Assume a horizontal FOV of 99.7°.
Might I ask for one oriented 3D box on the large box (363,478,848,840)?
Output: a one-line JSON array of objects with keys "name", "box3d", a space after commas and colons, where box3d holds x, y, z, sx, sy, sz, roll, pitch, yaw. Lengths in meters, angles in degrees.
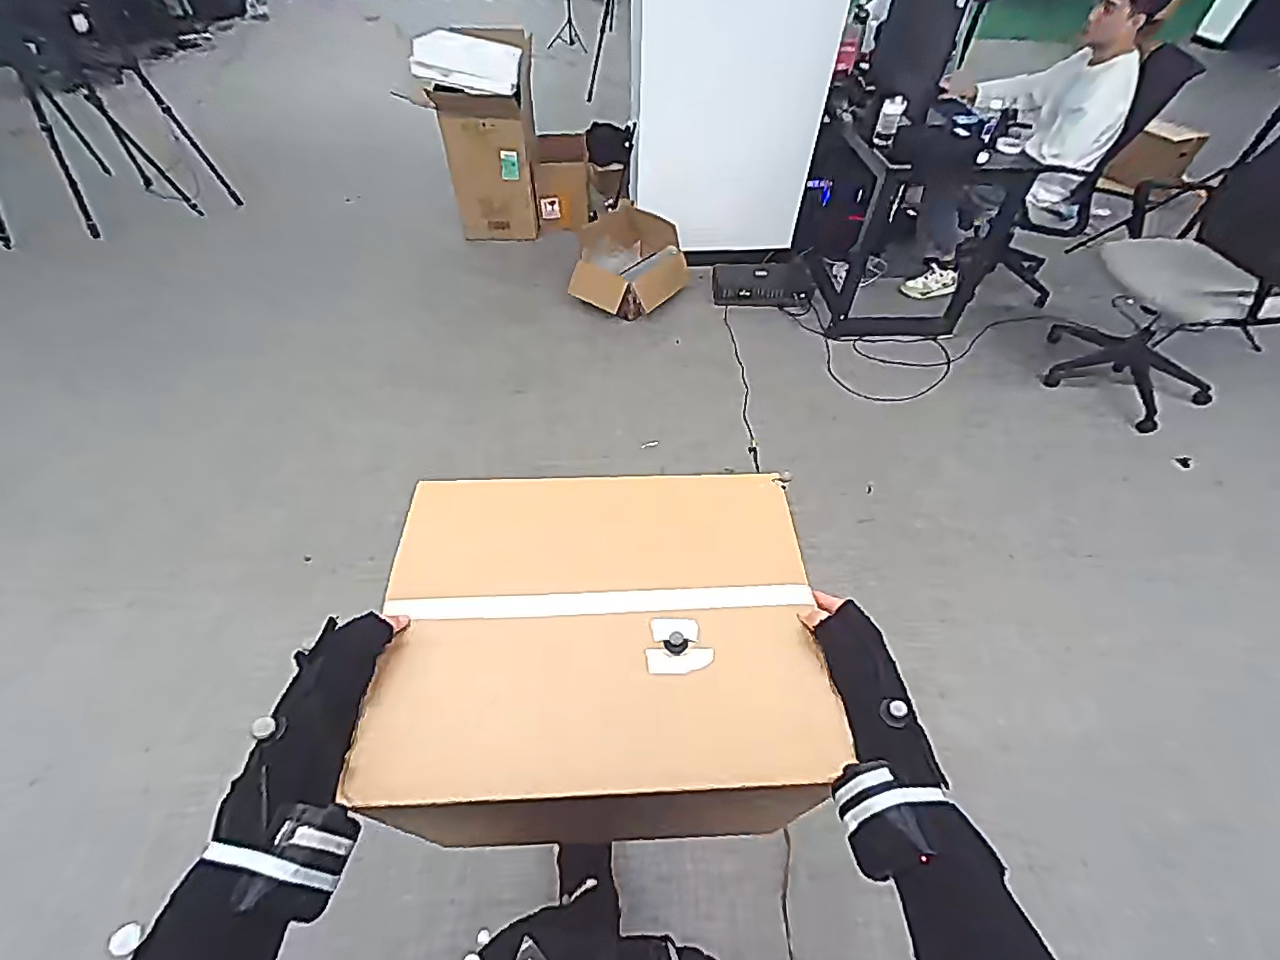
[{"name": "large box", "box3d": [-0.036, 0.215, 0.644, 0.408, 0.320, 0.320, -1, 51, -3]}]
